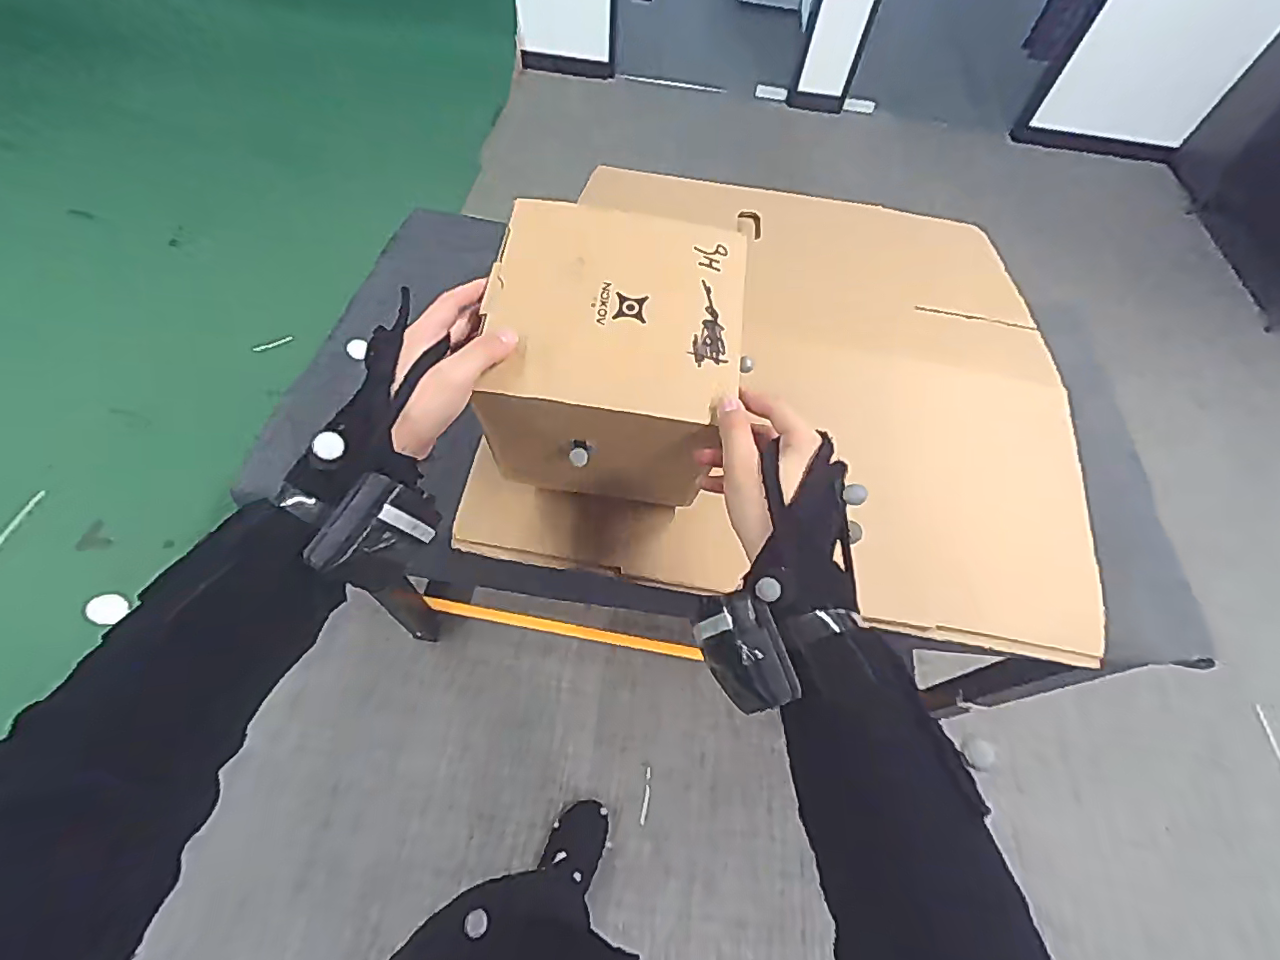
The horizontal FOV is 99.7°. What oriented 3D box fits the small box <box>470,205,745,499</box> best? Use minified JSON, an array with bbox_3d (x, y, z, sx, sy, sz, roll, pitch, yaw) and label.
[{"bbox_3d":[-0.021,-0.092,0.454,0.179,0.176,0.168,8,69,-2],"label":"small box"}]
